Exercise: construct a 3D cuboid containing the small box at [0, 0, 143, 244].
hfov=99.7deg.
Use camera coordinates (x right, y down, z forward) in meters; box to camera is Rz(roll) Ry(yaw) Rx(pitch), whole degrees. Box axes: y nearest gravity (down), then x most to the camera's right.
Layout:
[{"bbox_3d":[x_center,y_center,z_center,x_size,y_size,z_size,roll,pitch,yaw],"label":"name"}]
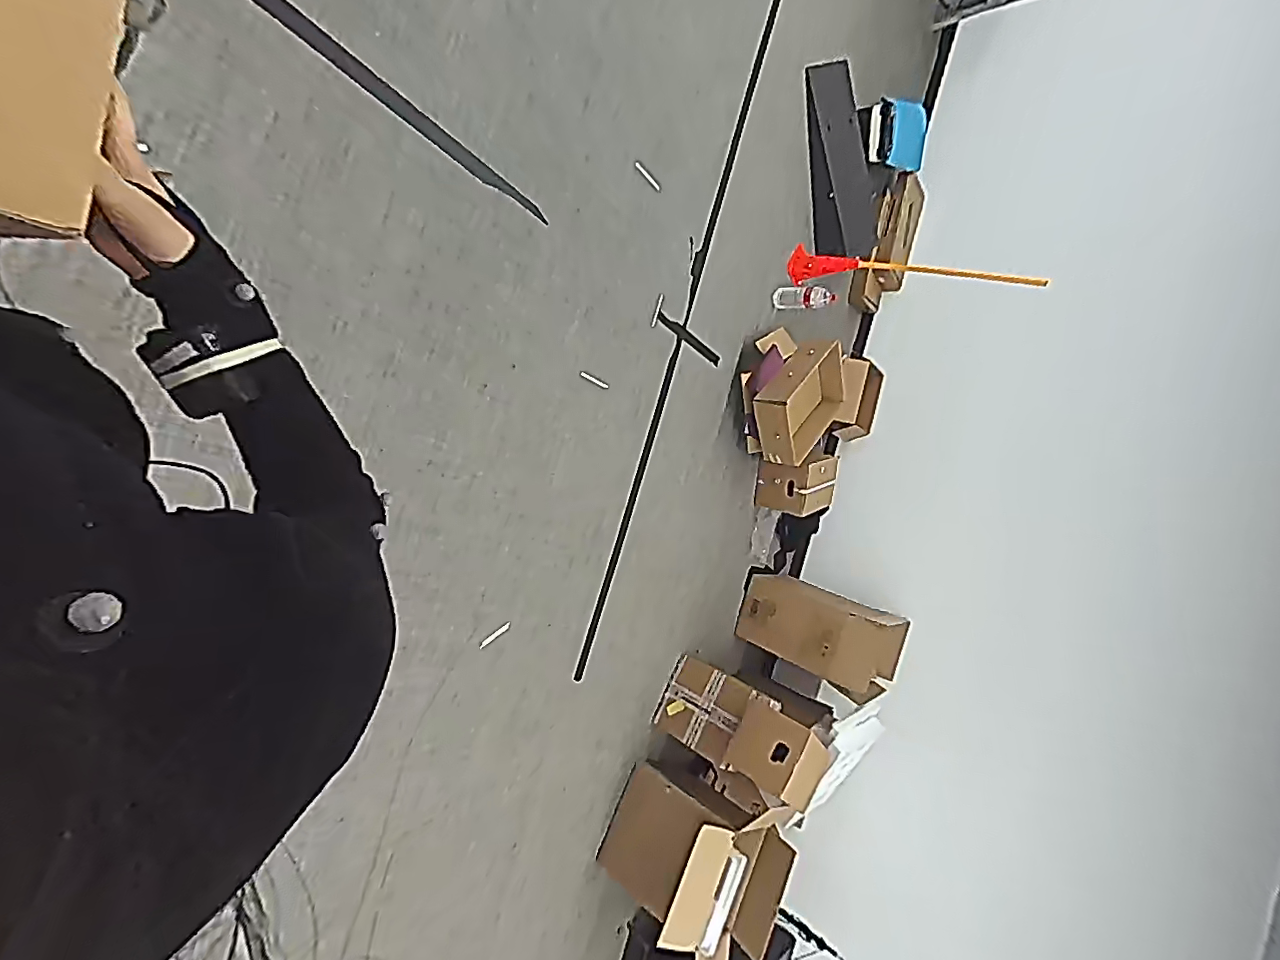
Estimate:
[{"bbox_3d":[-0.361,-0.226,0.237,0.168,0.176,0.179,9,96,-59],"label":"small box"}]
